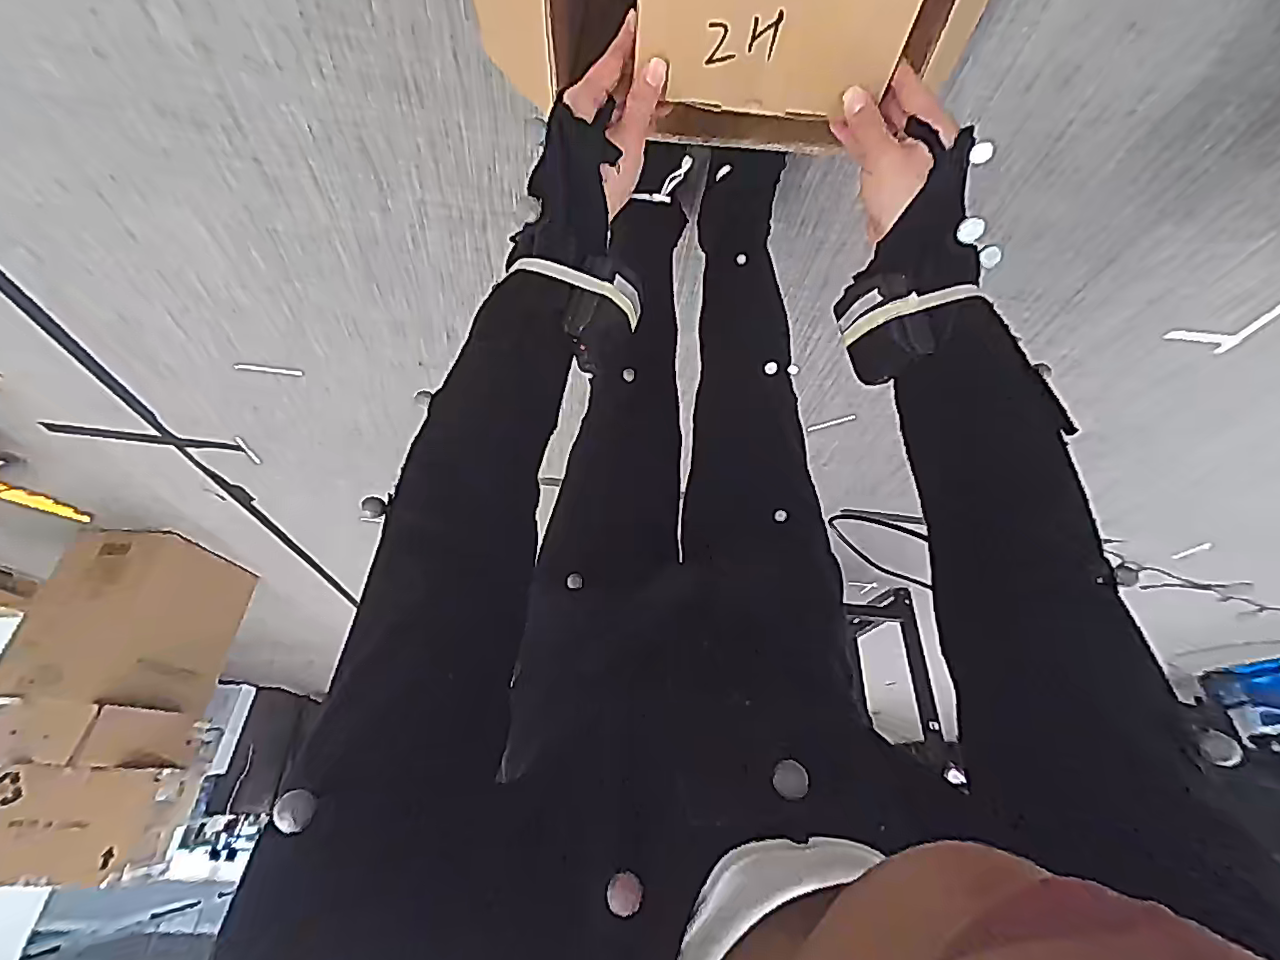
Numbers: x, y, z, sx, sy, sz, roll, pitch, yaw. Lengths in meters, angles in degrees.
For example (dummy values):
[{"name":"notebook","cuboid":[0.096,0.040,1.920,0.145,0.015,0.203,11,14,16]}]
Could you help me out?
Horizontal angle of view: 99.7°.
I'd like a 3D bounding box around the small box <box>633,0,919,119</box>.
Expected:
[{"name":"small box","cuboid":[0.085,-0.365,0.334,0.168,0.176,0.179,4,148,-4]}]
